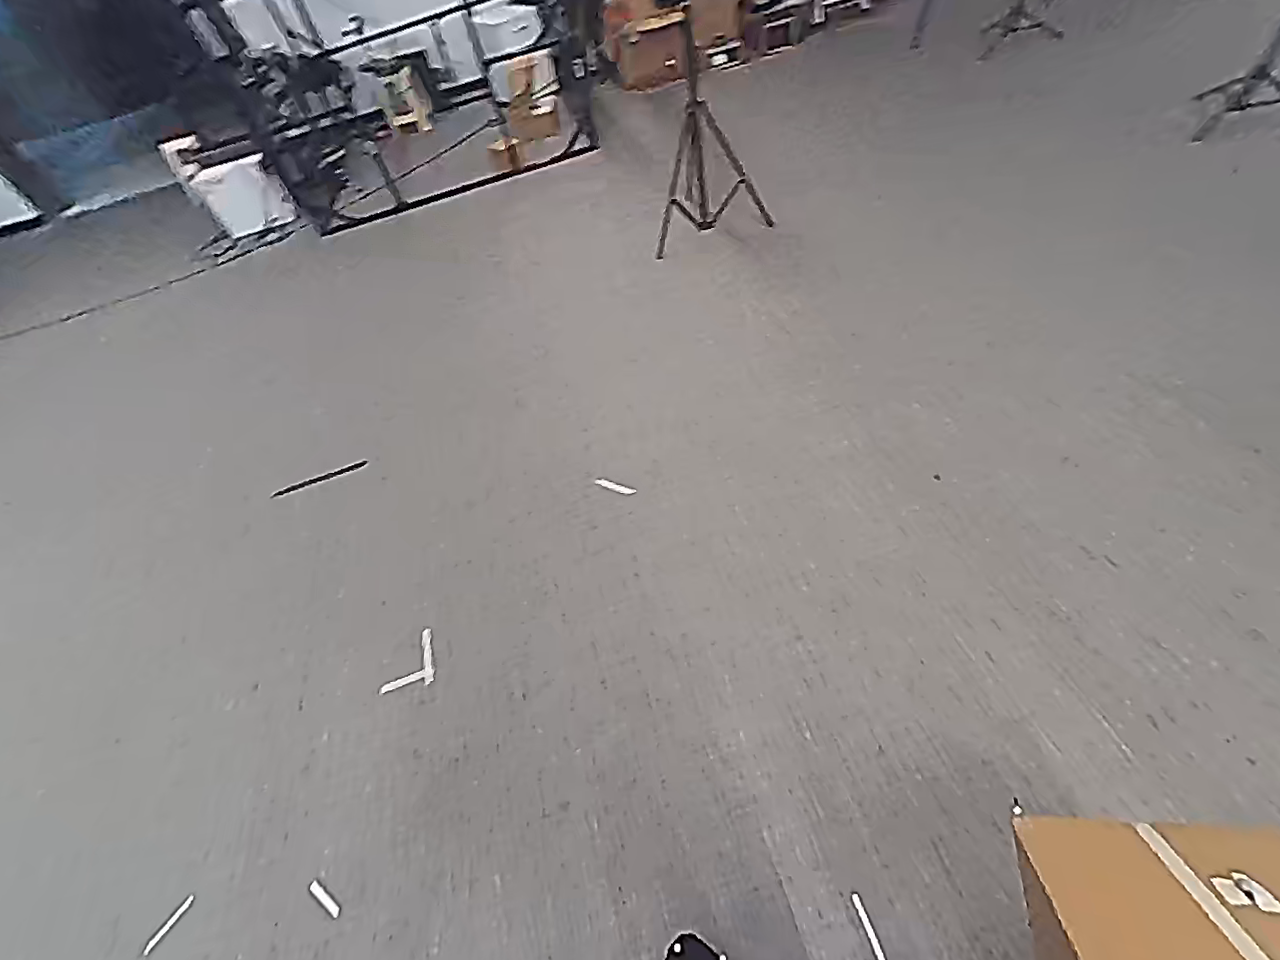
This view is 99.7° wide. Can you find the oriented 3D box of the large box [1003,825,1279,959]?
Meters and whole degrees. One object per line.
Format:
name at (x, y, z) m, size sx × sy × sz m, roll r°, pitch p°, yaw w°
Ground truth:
large box at (0.654, 0.649, 0.579) m, size 0.320 × 0.408 × 0.320 m, roll -8°, pitch 86°, yaw 19°
